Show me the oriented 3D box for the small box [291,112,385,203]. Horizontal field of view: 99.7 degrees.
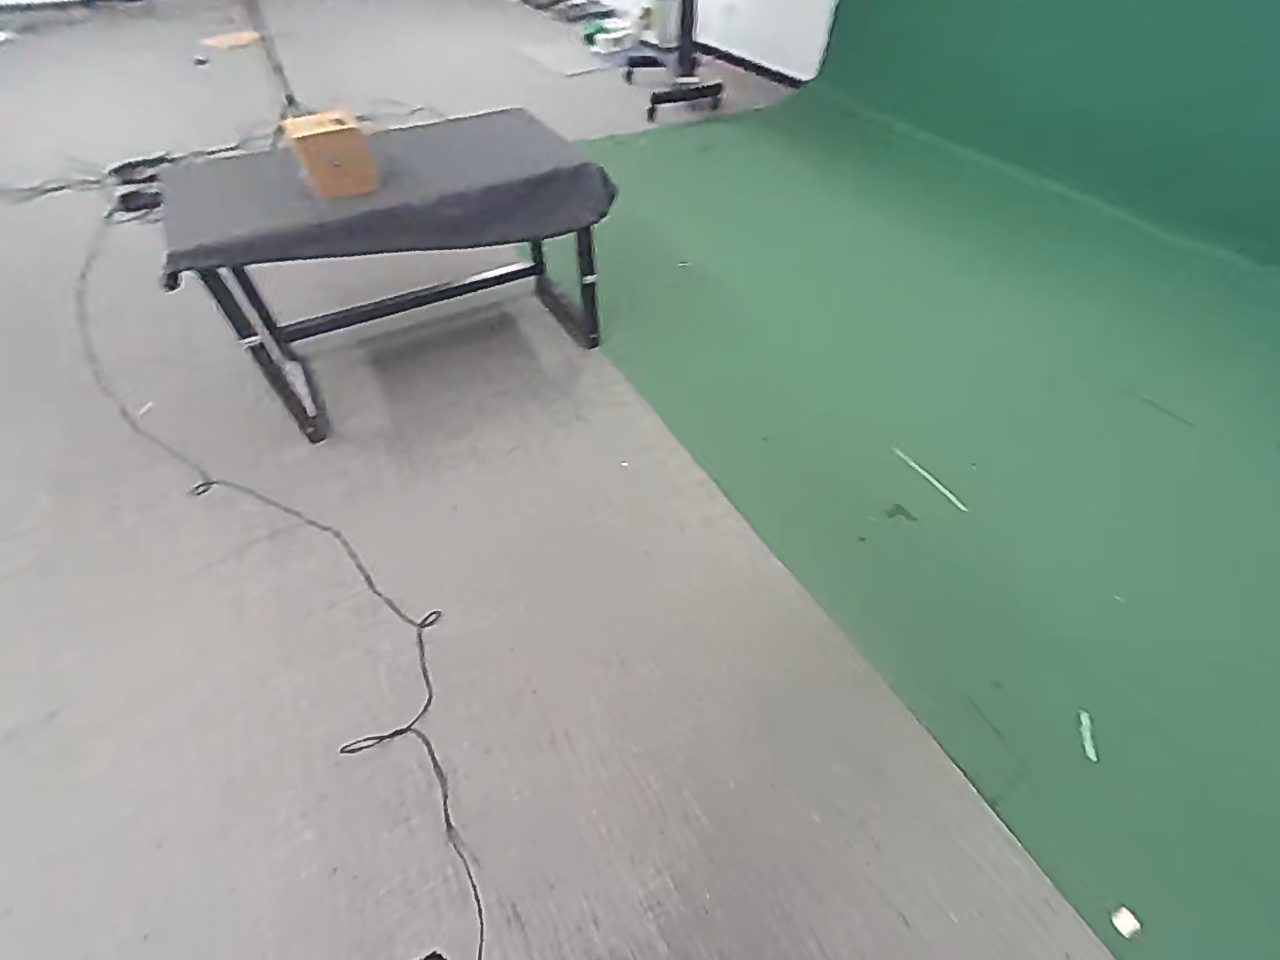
[{"bbox_3d":[-0.862,-0.931,1.562,0.179,0.176,0.168,-28,56,-23],"label":"small box"}]
